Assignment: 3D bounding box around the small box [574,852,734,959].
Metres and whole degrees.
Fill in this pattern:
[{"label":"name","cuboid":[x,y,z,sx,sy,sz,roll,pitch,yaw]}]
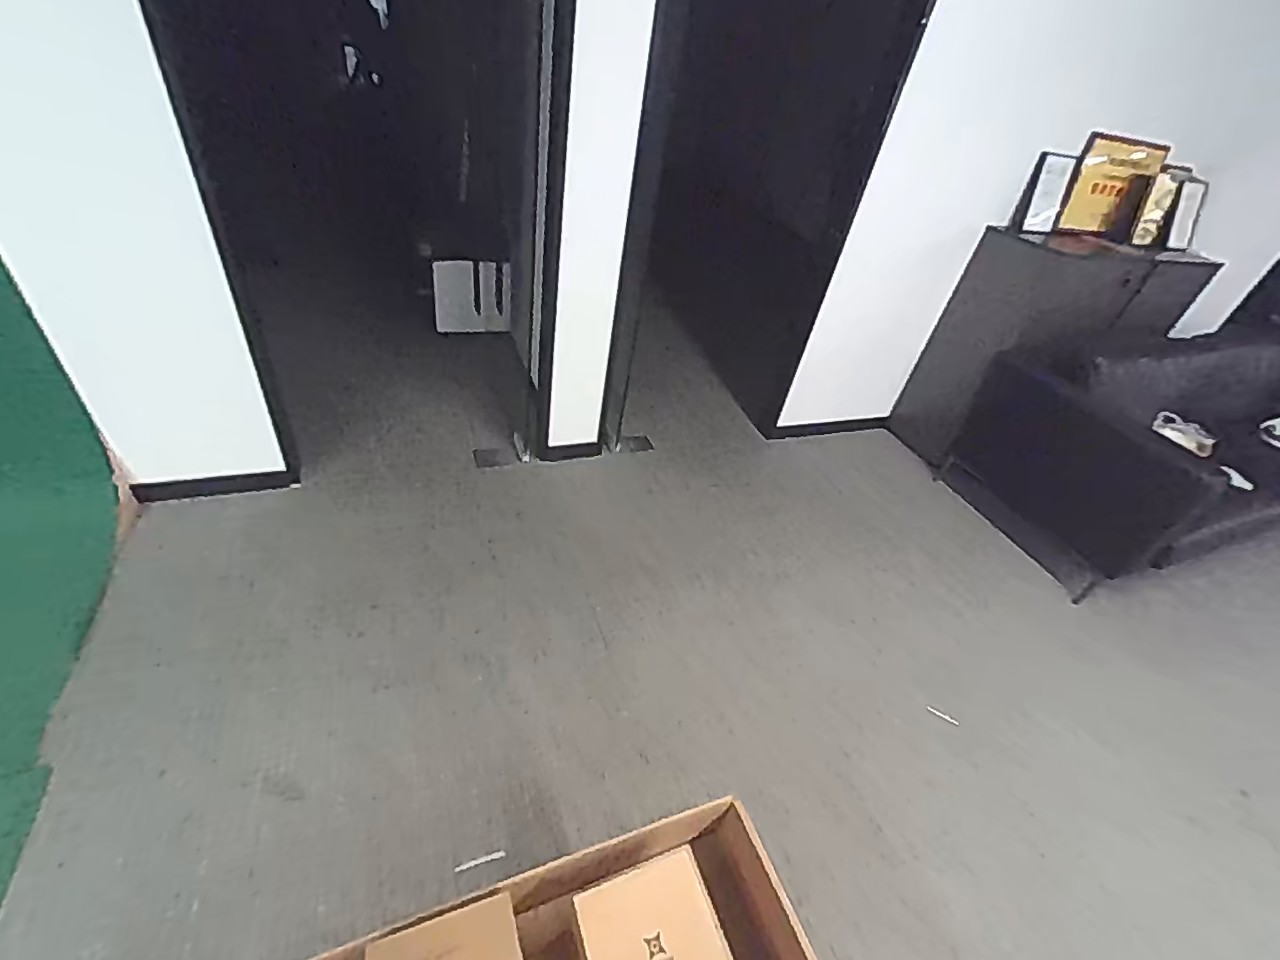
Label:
[{"label":"small box","cuboid":[0.015,0.639,0.711,0.168,0.176,0.179,-8,43,-21]}]
